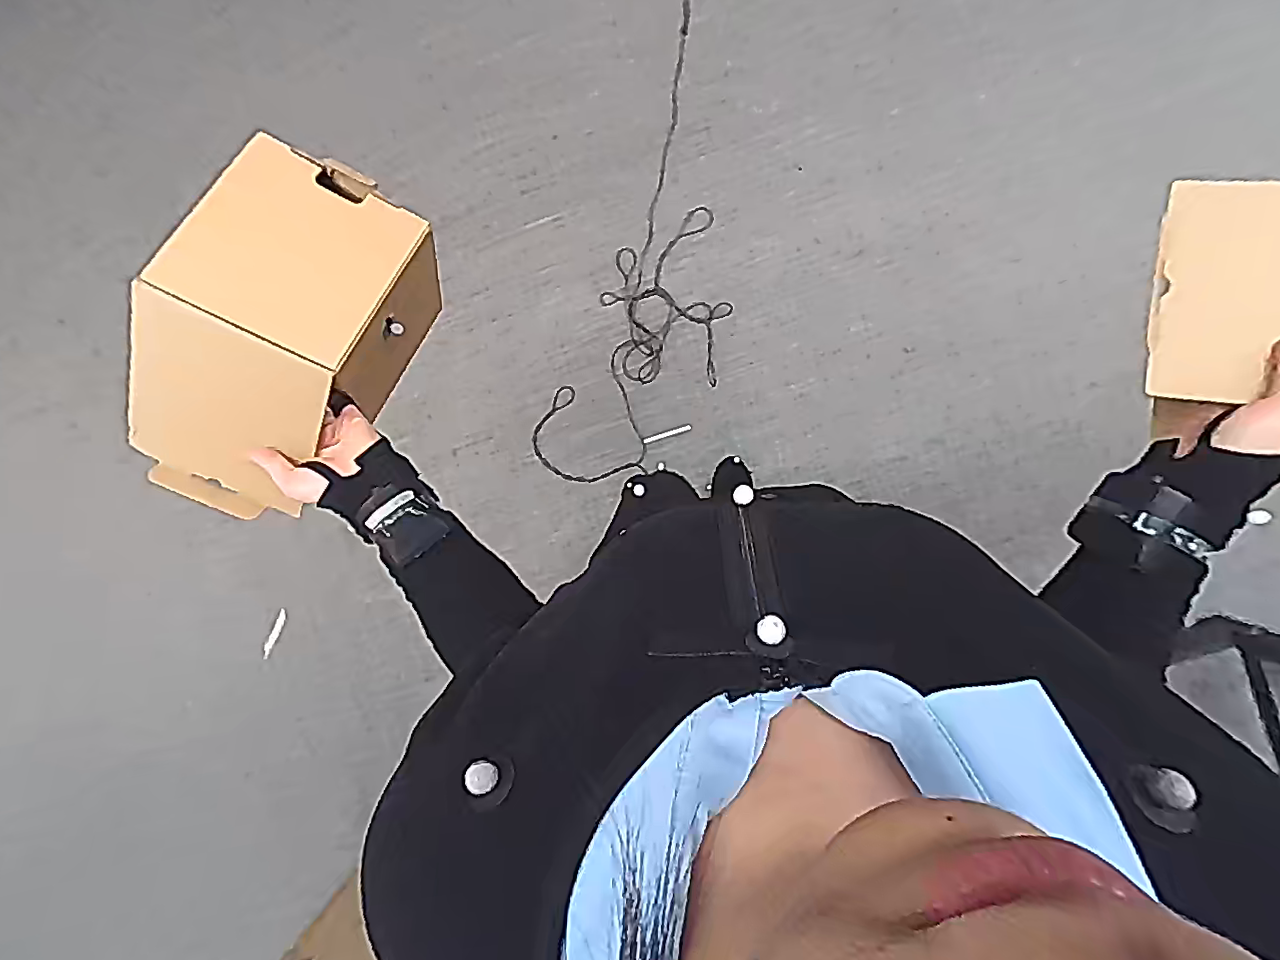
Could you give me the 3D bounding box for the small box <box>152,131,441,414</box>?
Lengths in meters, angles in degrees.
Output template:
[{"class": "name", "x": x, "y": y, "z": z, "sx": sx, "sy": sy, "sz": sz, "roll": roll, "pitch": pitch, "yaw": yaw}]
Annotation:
[{"class": "small box", "x": -0.319, "y": -0.192, "z": 0.554, "sx": 0.168, "sy": 0.176, "sz": 0.179, "roll": 27, "pitch": 72, "yaw": -10}]
